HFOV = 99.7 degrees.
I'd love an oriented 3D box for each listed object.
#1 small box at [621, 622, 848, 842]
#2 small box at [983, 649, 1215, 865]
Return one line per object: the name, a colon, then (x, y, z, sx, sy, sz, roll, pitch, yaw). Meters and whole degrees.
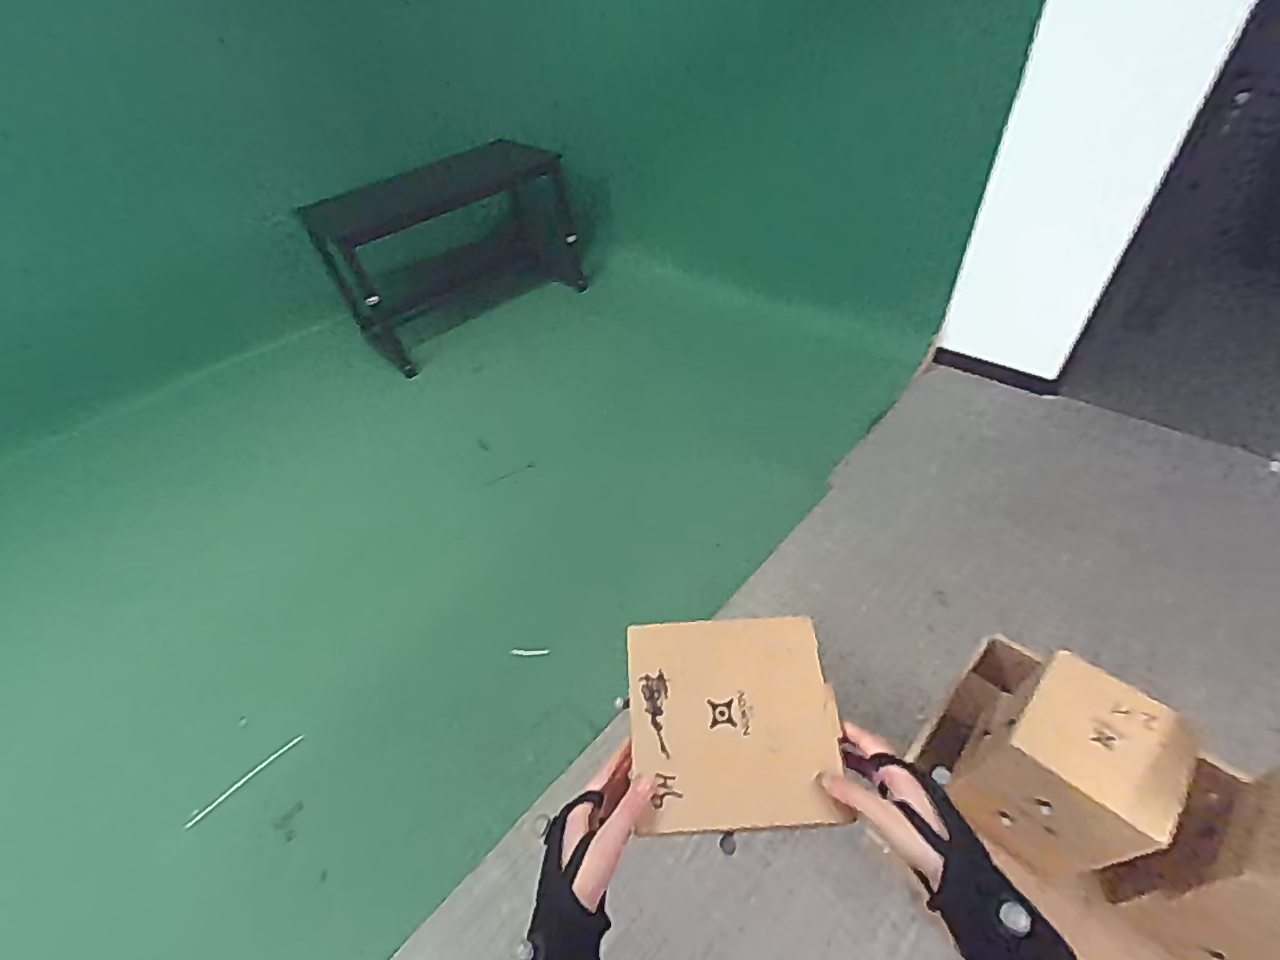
small box: (0.071, 0.246, 0.523, 0.179, 0.176, 0.168, -3, 56, -1)
small box: (0.599, 0.375, 0.730, 0.179, 0.176, 0.168, -39, 53, -24)
